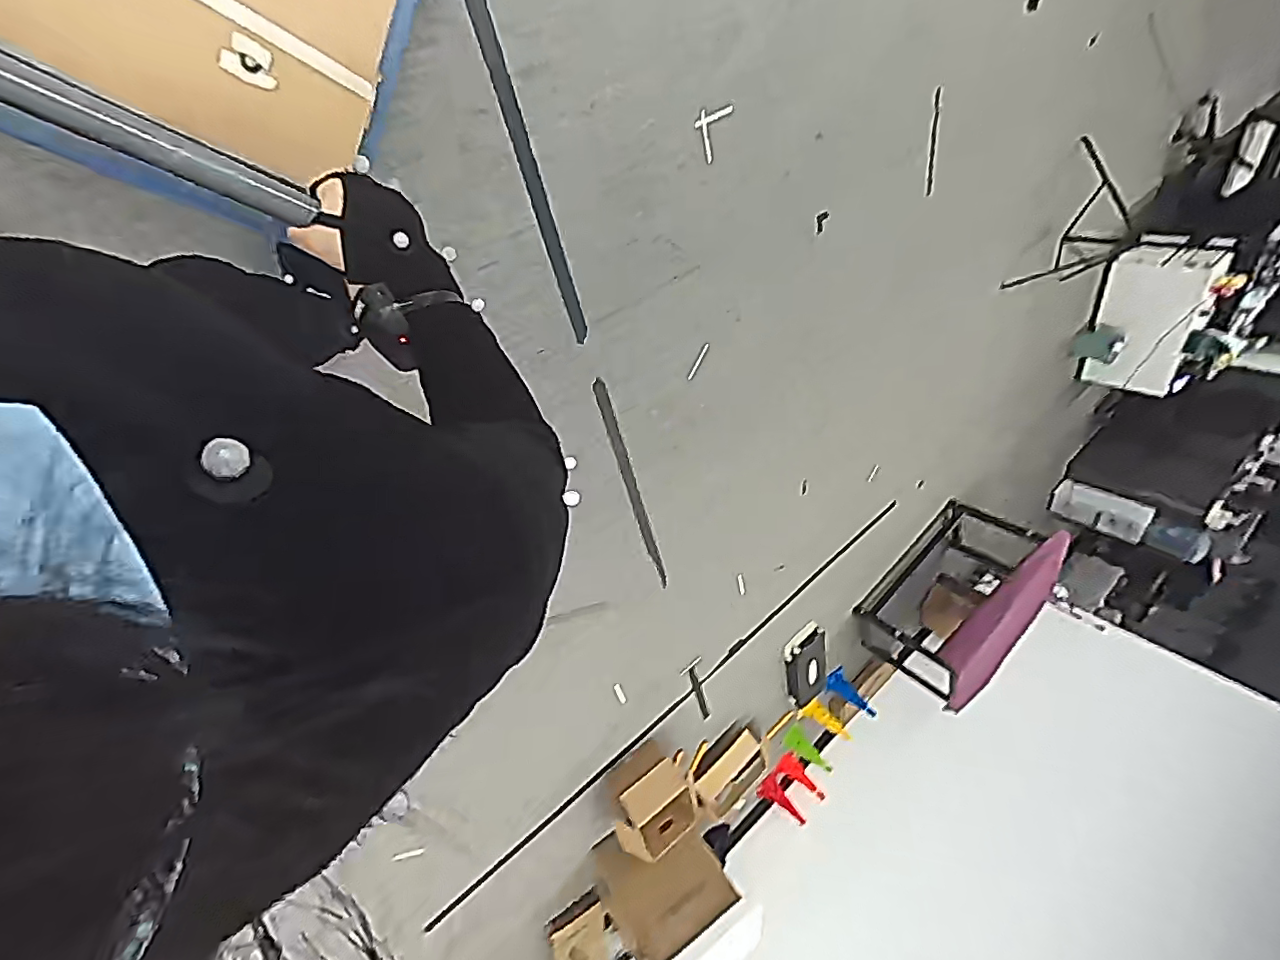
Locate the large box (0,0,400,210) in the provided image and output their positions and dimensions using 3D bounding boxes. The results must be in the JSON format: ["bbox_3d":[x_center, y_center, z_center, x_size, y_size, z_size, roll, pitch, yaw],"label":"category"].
[{"bbox_3d":[-0.611,-0.617,0.731,0.408,0.320,0.320,13,105,-44],"label":"large box"}]
